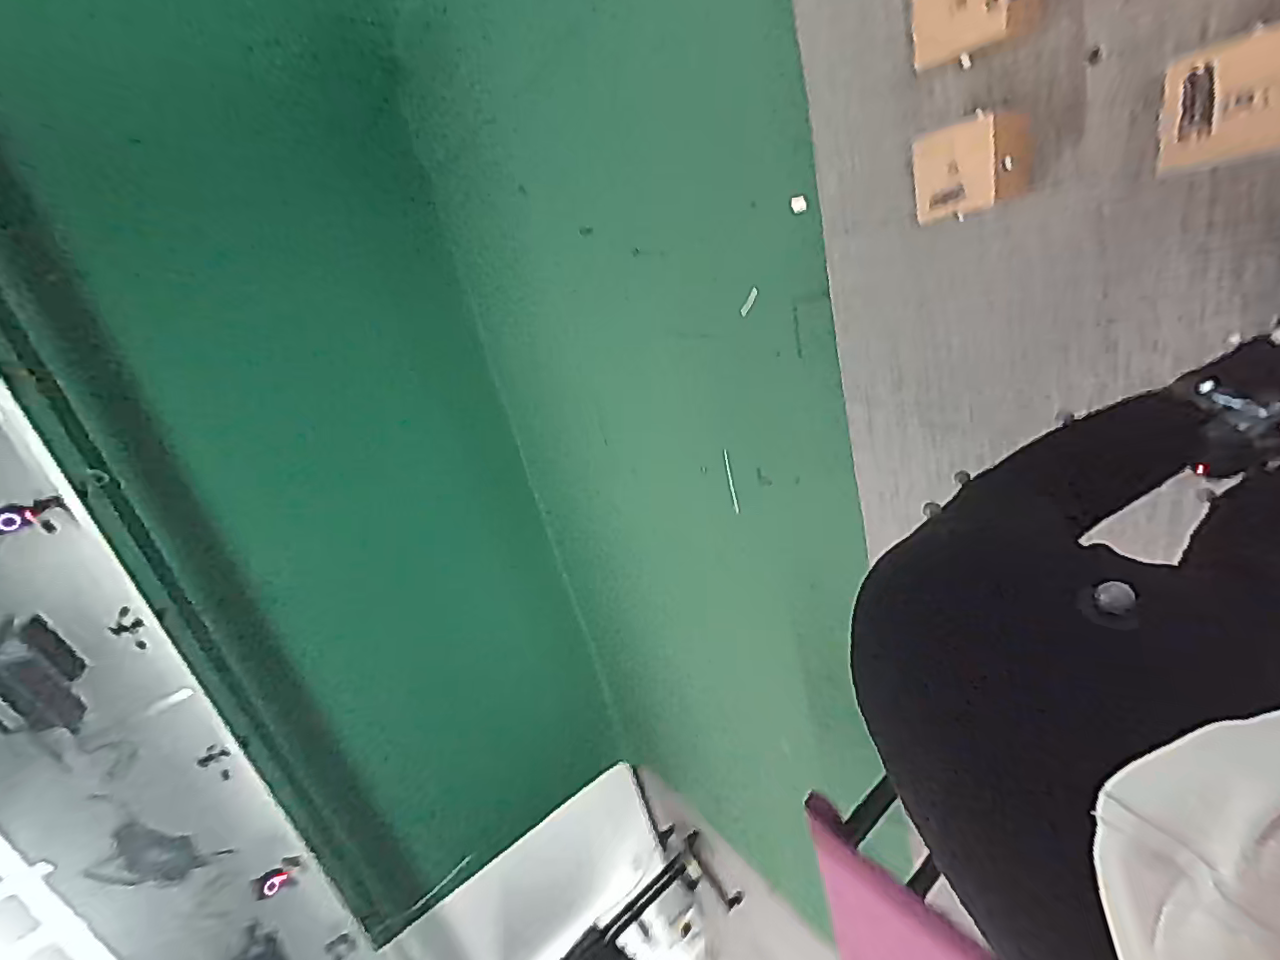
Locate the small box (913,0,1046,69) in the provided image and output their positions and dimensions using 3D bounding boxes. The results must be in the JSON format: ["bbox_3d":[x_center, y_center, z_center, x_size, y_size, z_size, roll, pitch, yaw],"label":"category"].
[{"bbox_3d":[0.676,-0.950,1.079,0.179,0.176,0.168,18,127,53],"label":"small box"}]

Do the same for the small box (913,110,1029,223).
[{"bbox_3d":[0.731,-0.689,1.193,0.168,0.176,0.179,15,124,53],"label":"small box"}]
